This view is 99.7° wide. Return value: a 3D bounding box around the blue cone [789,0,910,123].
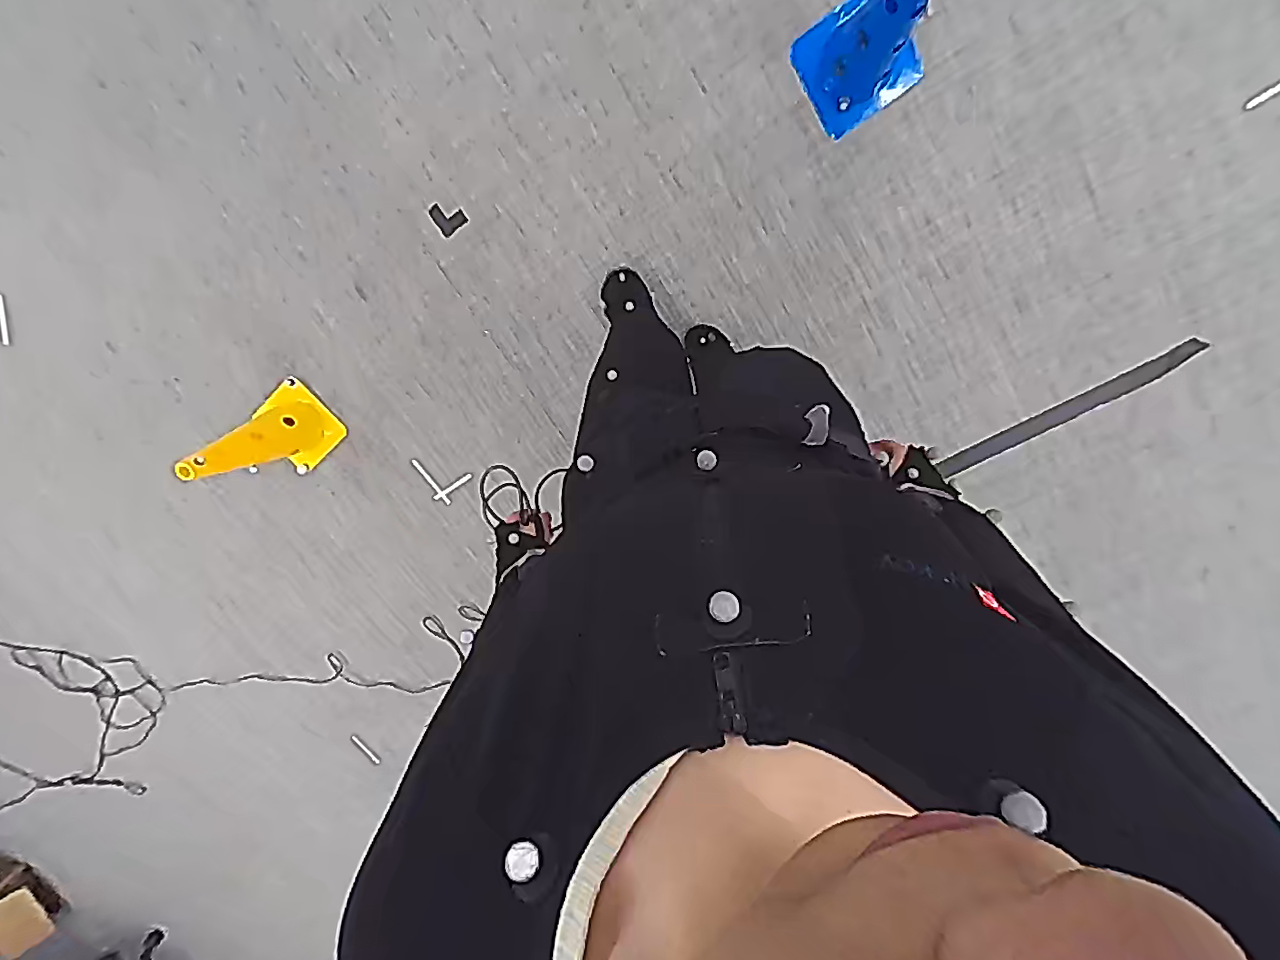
[{"bbox_3d":[0.390,-0.769,0.893,0.193,0.380,0.192,-29,104,15],"label":"blue cone"}]
